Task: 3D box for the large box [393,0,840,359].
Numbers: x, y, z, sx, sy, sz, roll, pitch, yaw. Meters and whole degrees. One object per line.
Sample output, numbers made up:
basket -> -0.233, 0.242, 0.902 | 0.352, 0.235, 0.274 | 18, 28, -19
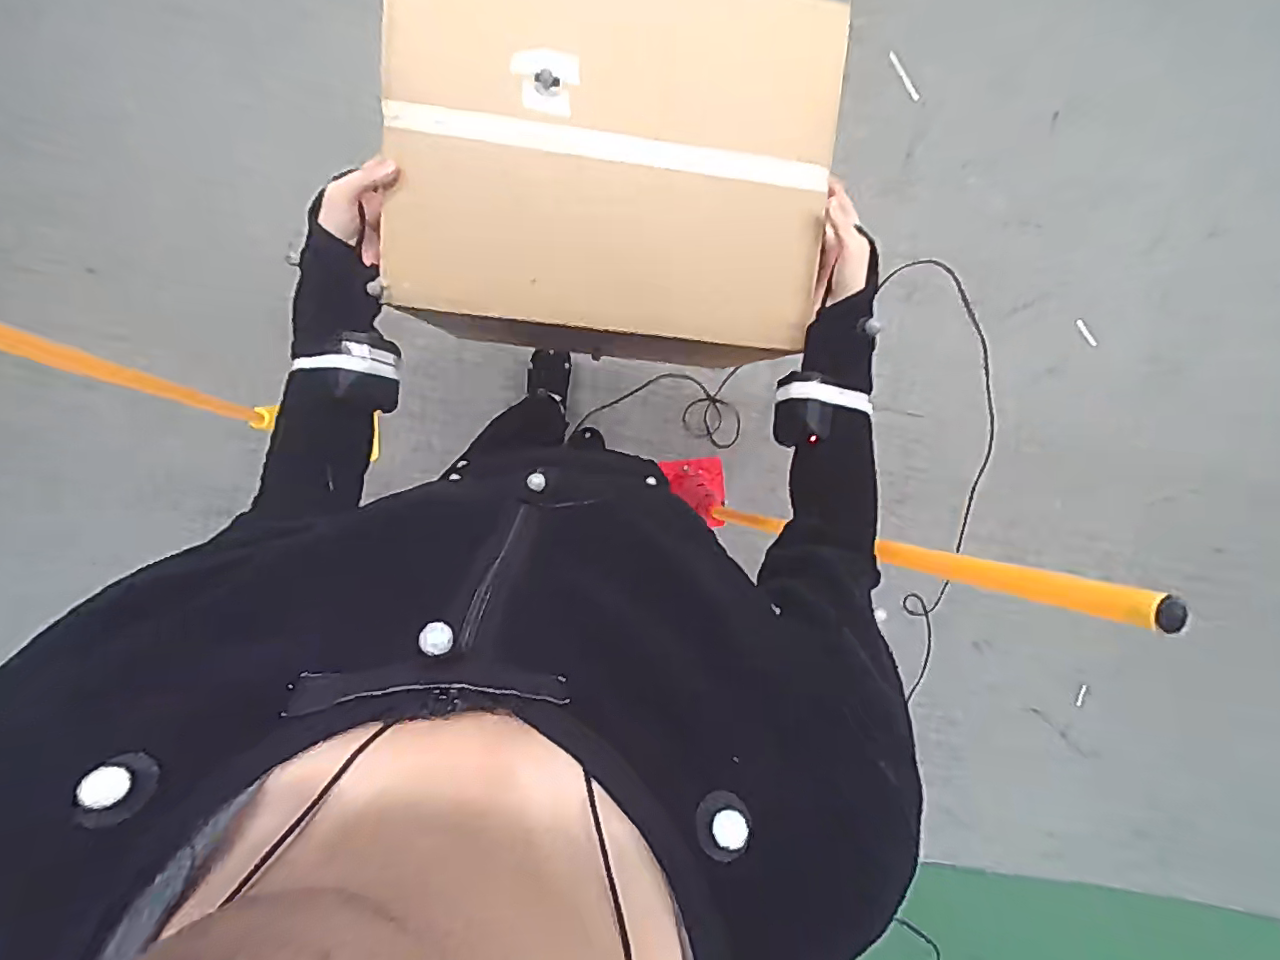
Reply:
large box -> -0.034, -0.325, 0.649 | 0.408, 0.320, 0.320 | 5, 97, -7
